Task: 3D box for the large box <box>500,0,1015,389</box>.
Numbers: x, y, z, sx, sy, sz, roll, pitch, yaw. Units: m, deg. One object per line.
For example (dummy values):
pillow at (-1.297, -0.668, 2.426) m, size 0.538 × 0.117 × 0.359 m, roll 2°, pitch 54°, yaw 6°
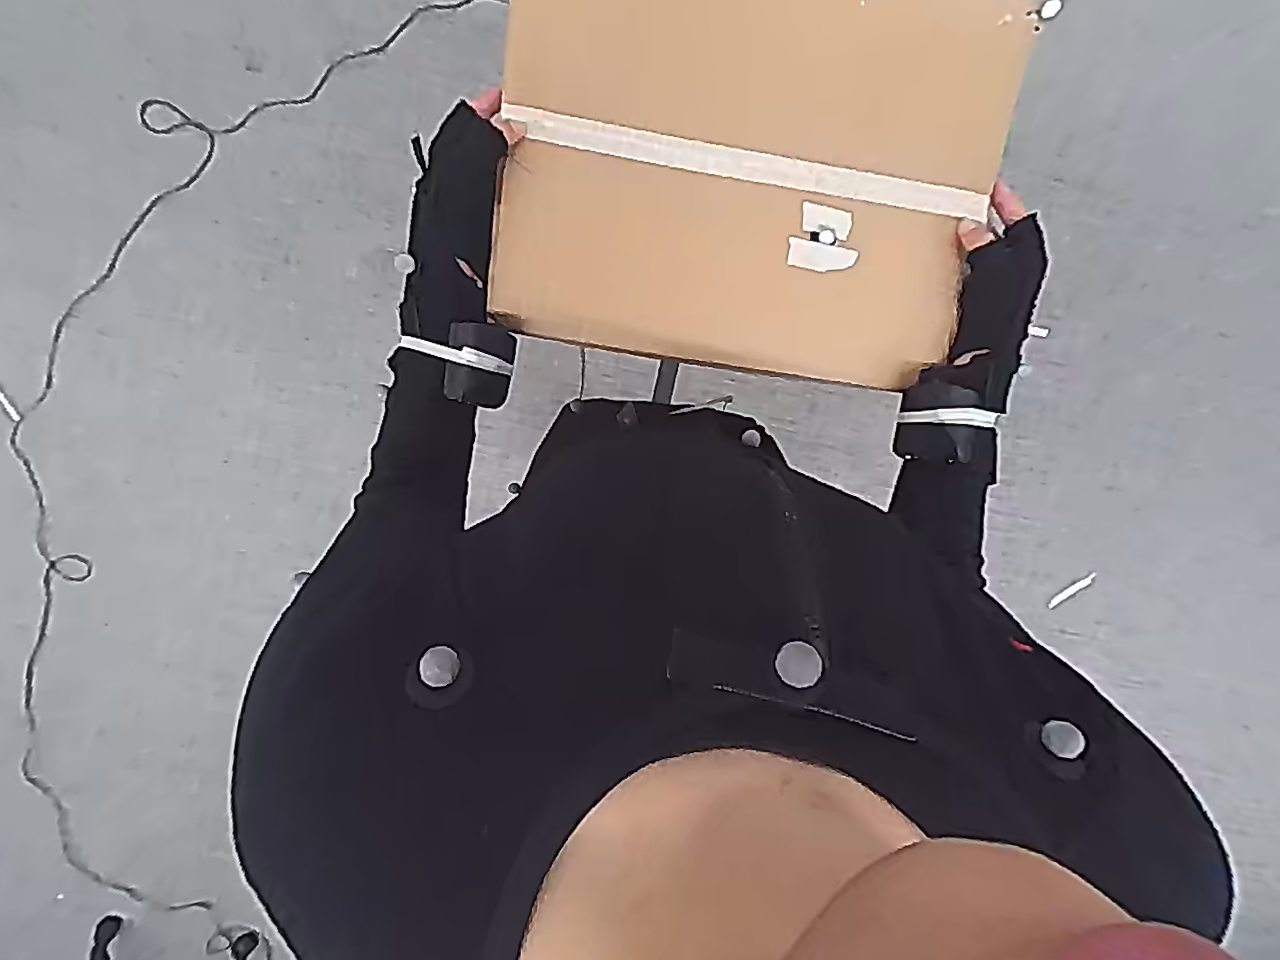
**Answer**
large box at (0.079, -0.287, 0.597) m, size 0.408 × 0.320 × 0.320 m, roll 7°, pitch 104°, yaw -7°
